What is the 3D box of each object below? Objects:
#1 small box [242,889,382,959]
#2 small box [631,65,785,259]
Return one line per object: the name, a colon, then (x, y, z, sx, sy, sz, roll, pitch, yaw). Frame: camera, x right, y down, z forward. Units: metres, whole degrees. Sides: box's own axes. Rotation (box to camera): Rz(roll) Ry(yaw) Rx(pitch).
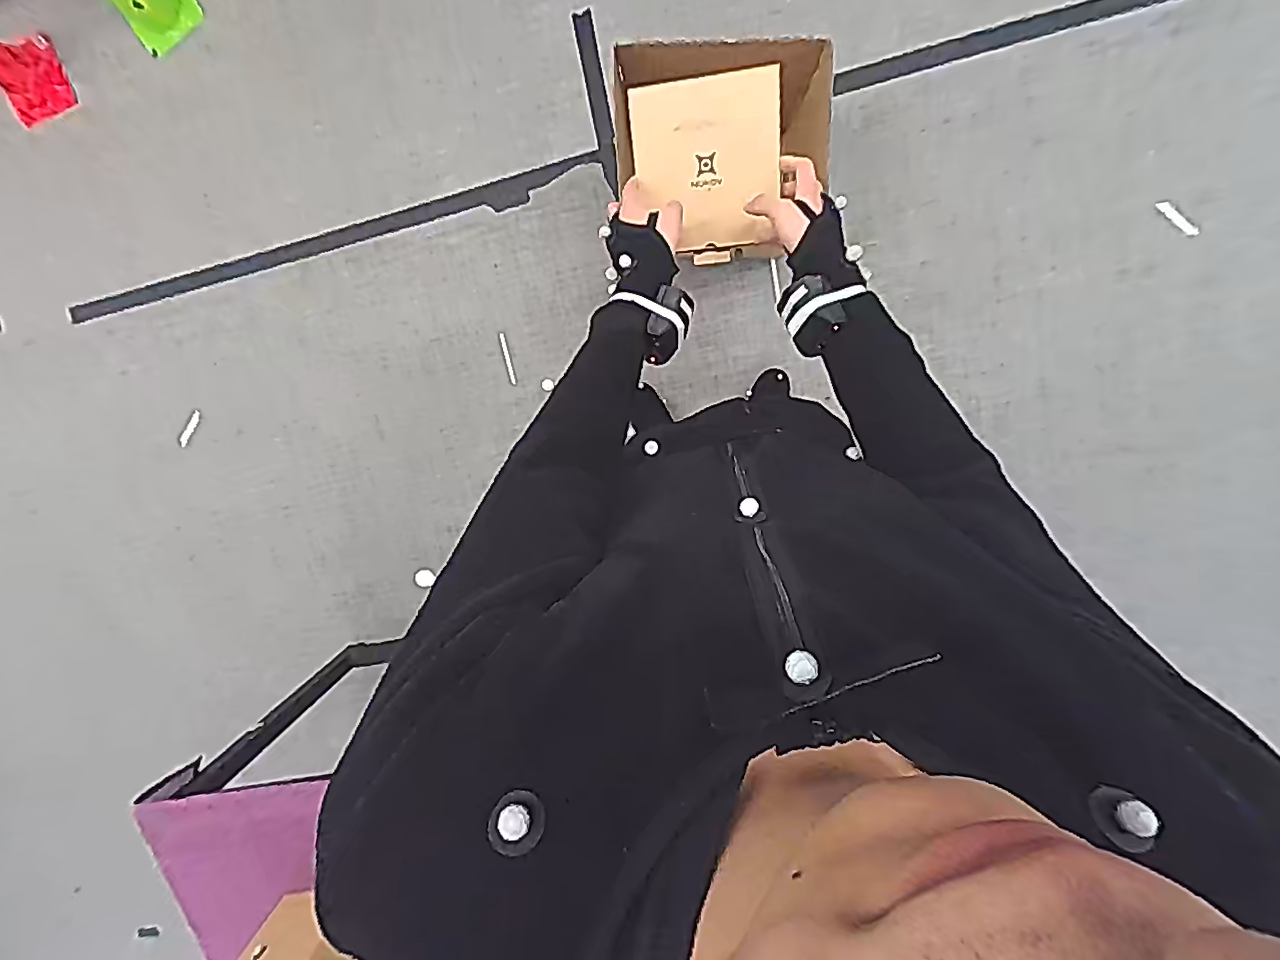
small box: (-0.668, 0.980, 1.099, 0.179, 0.176, 0.168, -13, 102, 8)
small box: (0.088, -0.384, 0.680, 0.168, 0.176, 0.179, -3, 114, 8)
